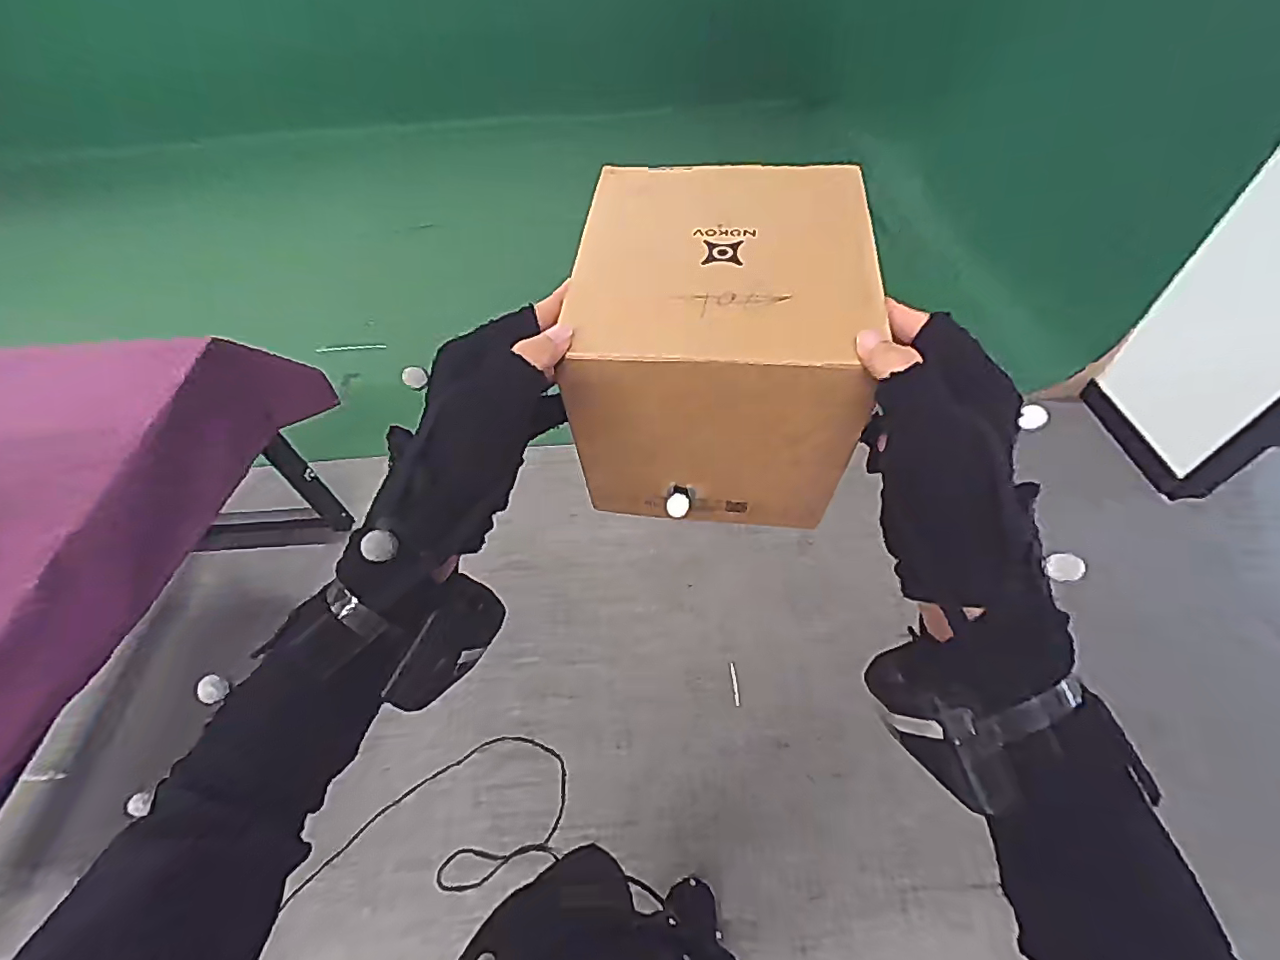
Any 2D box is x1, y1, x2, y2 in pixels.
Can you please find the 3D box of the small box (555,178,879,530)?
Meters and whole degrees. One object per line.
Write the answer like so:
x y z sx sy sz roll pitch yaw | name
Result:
0.051 -0.085 0.382 0.168 0.176 0.179 3 57 7 | small box
